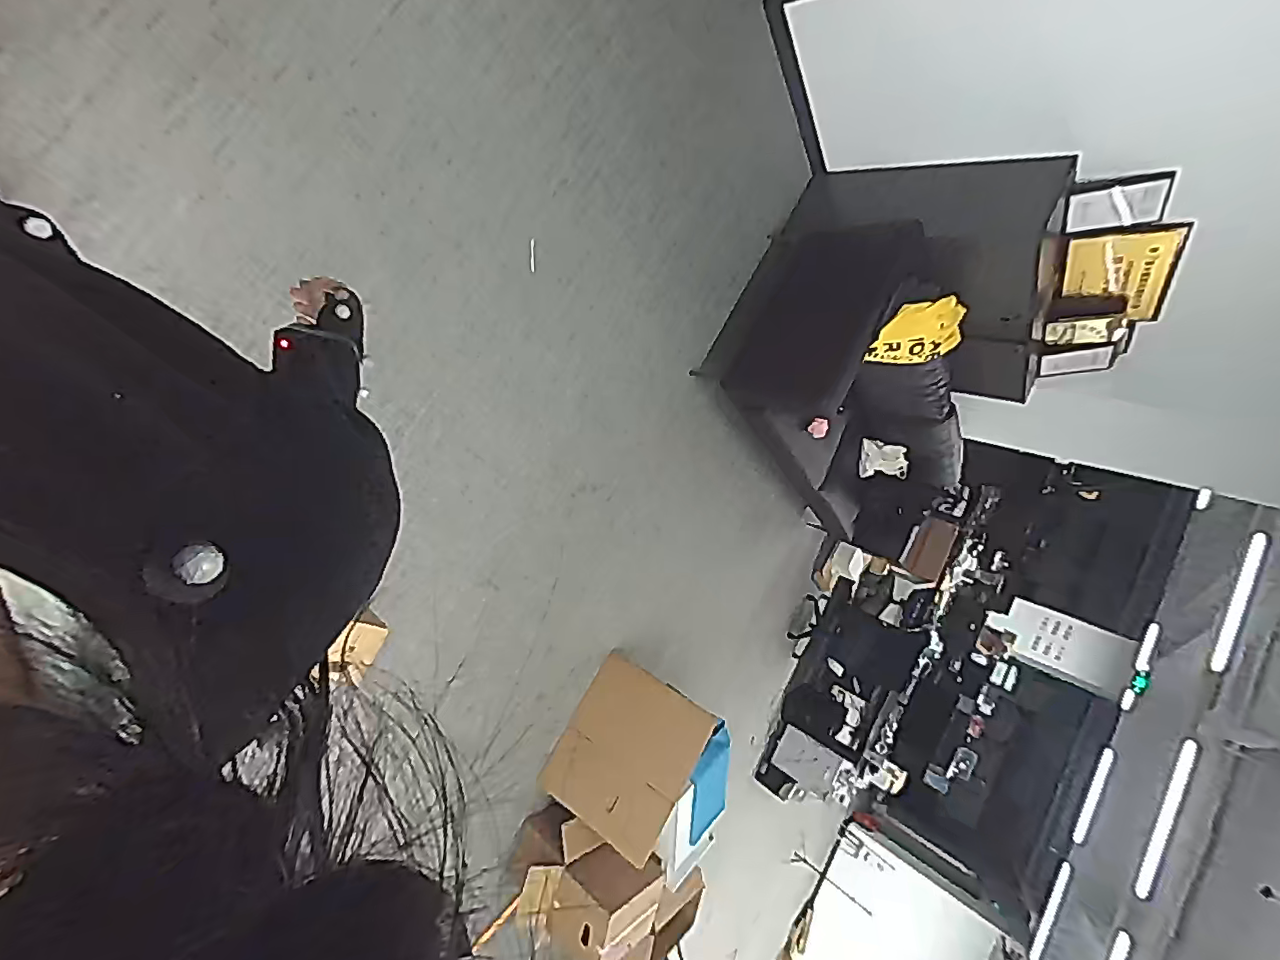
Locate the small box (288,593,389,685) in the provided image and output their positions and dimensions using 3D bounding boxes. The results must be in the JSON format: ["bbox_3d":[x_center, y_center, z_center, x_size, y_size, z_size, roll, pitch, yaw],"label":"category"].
[{"bbox_3d":[-0.857,0.448,1.528,0.168,0.176,0.179,40,74,-51],"label":"small box"}]
